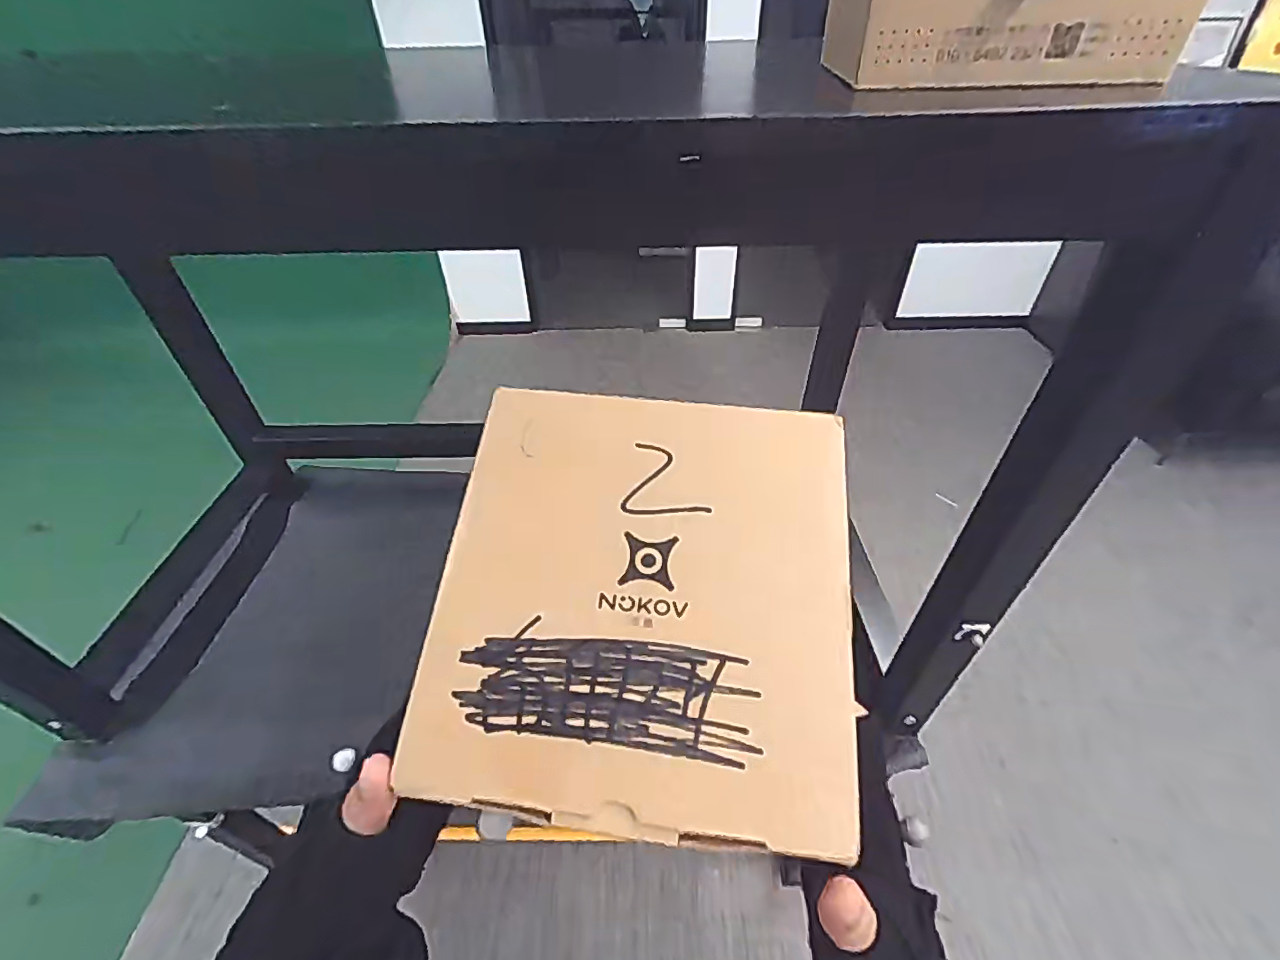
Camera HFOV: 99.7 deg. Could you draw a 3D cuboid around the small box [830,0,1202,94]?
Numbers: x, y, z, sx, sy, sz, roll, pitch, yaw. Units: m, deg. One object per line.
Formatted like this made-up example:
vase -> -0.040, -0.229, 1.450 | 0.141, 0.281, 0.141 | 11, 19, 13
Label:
small box -> 0.218, -0.339, 0.316 | 0.168, 0.176, 0.179 | 4, 41, 7
